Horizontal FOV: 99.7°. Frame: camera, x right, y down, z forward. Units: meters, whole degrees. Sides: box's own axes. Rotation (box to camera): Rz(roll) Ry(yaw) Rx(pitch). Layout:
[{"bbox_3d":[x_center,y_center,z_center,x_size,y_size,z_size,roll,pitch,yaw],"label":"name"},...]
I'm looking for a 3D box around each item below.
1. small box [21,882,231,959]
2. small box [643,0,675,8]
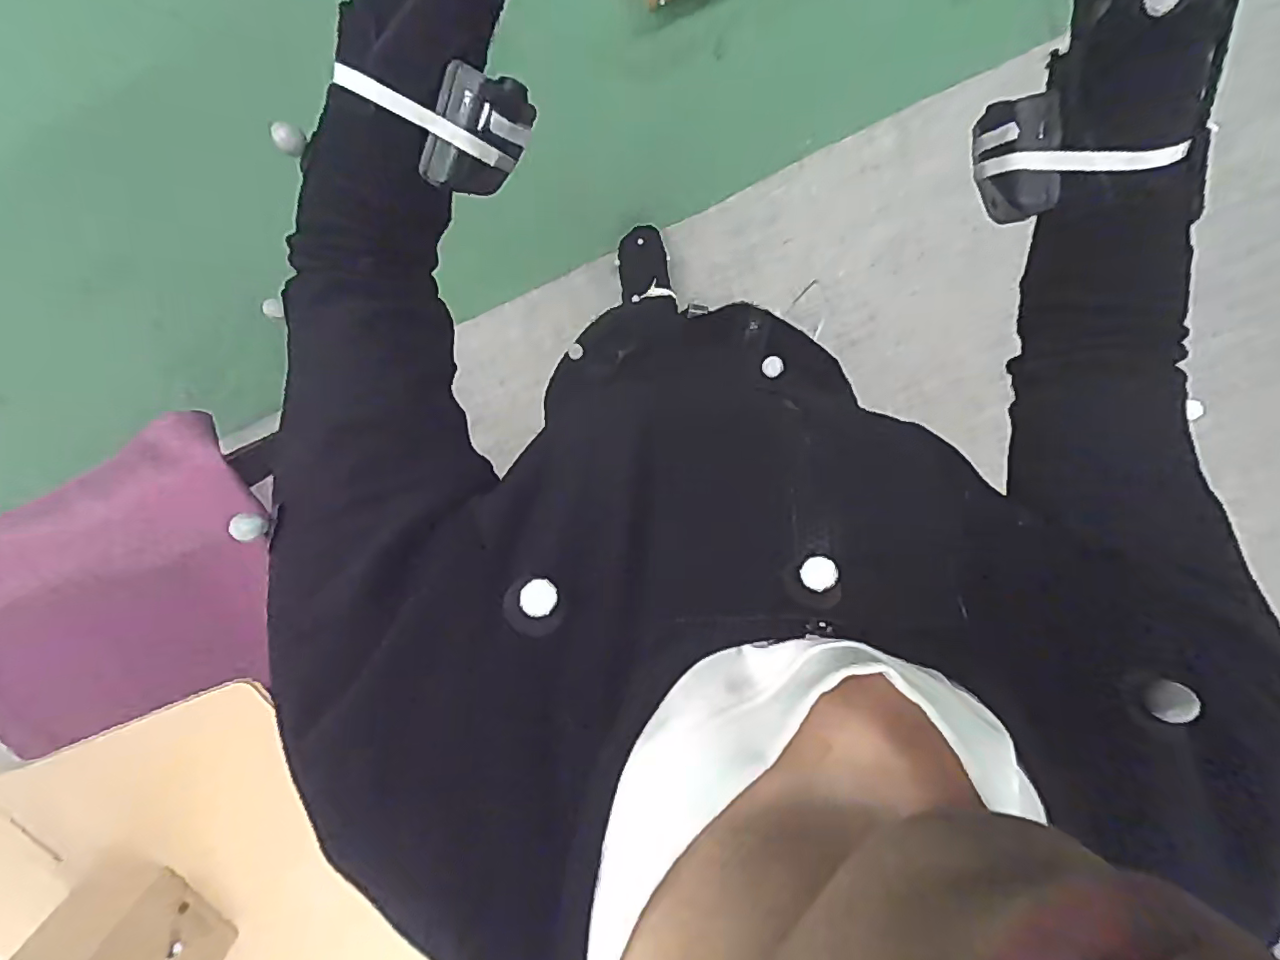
[{"bbox_3d":[-0.691,0.663,0.691,0.179,0.176,0.168,-19,111,8],"label":"small box"},{"bbox_3d":[0.062,-1.041,1.019,0.168,0.176,0.179,-21,112,7],"label":"small box"}]
